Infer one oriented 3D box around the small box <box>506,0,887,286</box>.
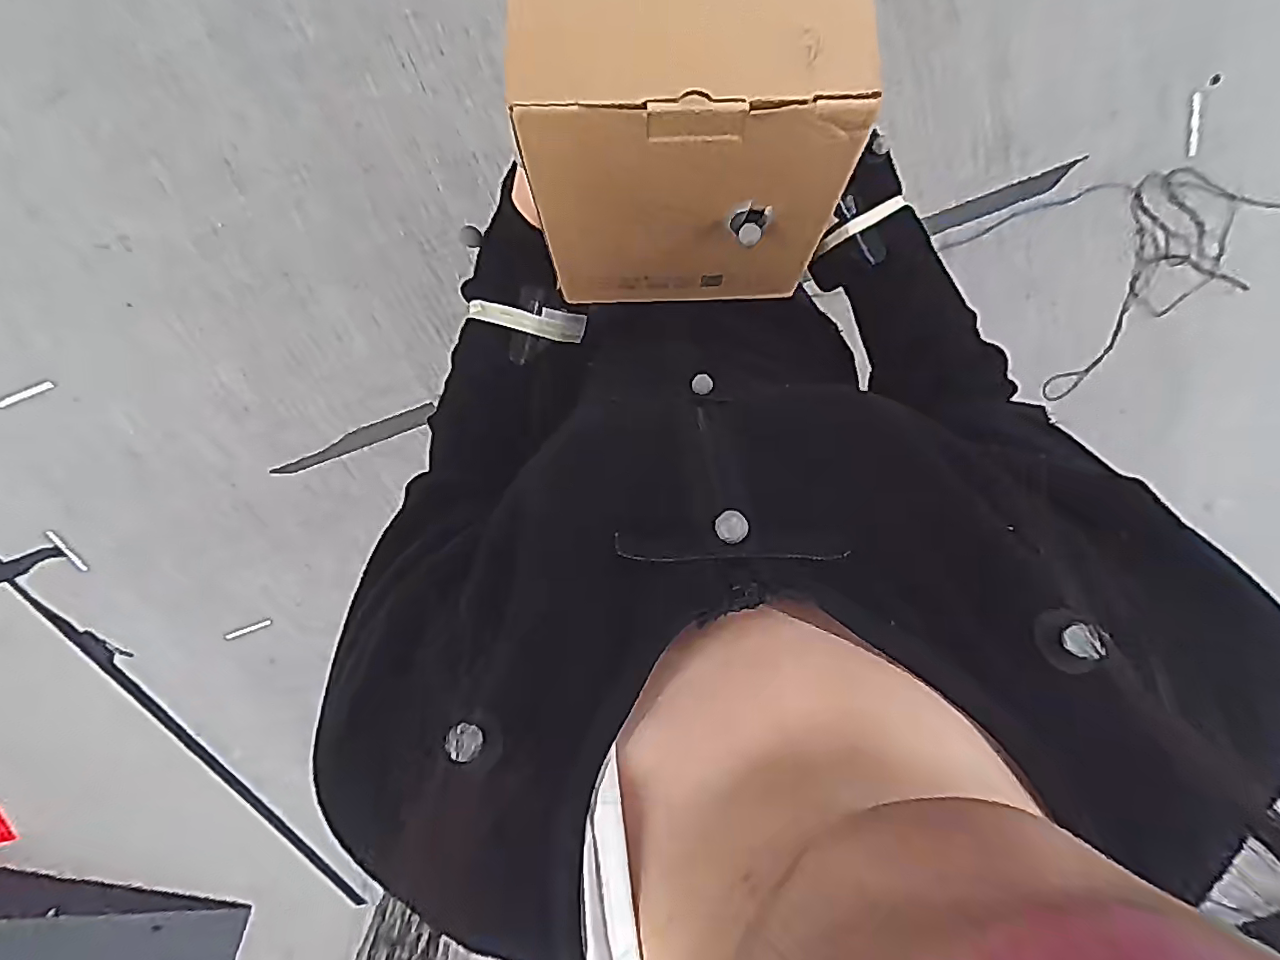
[{"bbox_3d":[0.024,-0.232,0.323,0.168,0.176,0.179,-2,79,0],"label":"small box"}]
